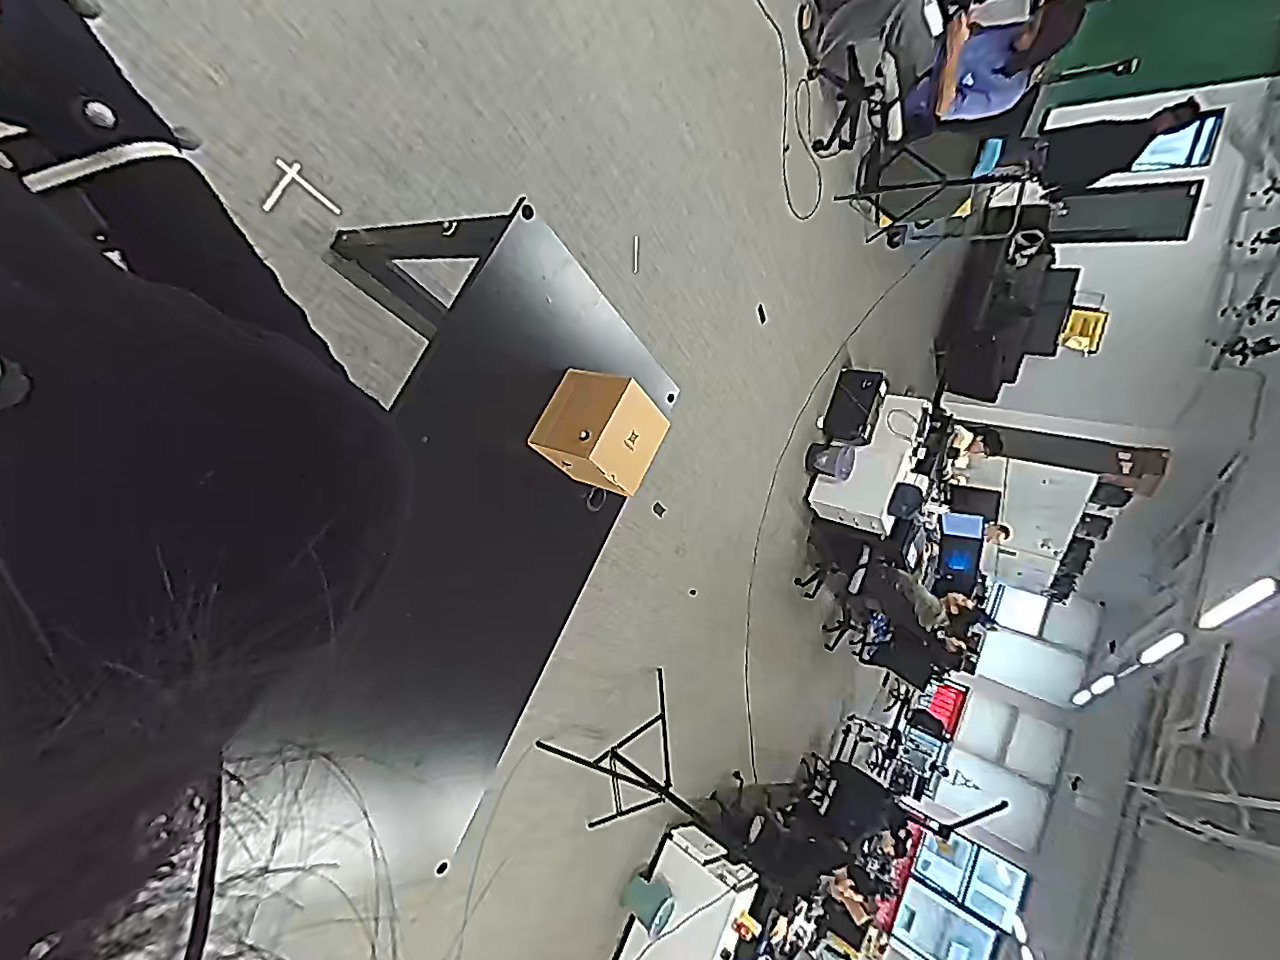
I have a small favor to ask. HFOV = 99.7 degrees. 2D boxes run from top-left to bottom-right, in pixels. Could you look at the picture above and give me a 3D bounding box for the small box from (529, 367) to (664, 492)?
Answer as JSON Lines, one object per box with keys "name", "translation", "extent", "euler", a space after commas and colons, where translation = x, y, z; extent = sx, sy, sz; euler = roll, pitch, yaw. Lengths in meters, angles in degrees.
{"name": "small box", "translation": [-0.086, -0.104, 1.067], "extent": [0.168, 0.176, 0.179], "euler": [42, 70, -51]}
